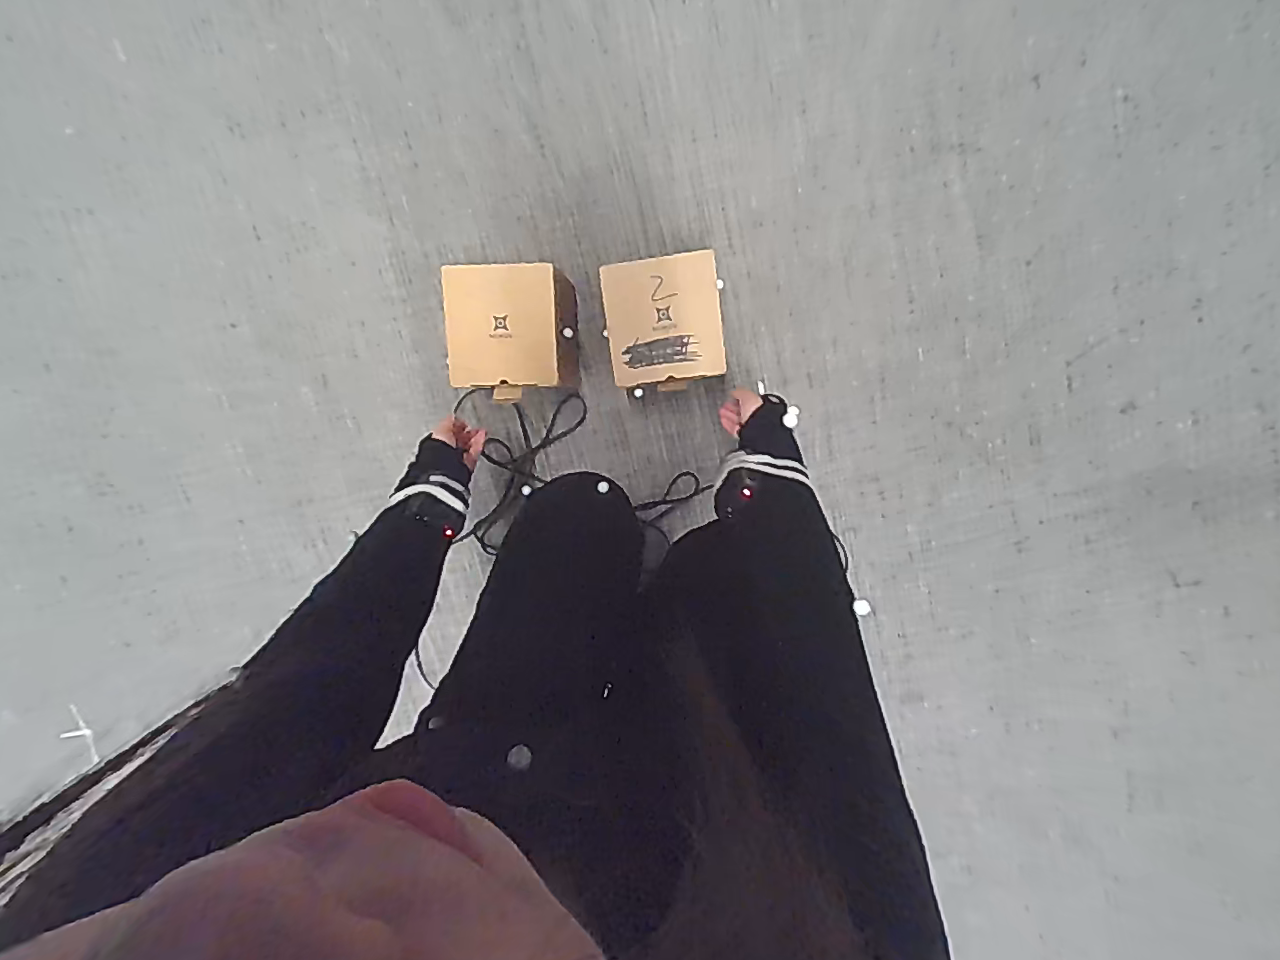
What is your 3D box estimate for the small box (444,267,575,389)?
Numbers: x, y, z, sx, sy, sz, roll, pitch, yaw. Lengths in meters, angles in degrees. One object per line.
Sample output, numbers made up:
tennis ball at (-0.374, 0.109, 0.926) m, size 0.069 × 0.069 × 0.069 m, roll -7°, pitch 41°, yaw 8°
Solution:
small box at (-0.202, -0.237, 0.876) m, size 0.168 × 0.176 × 0.179 m, roll 0°, pitch 101°, yaw 3°
